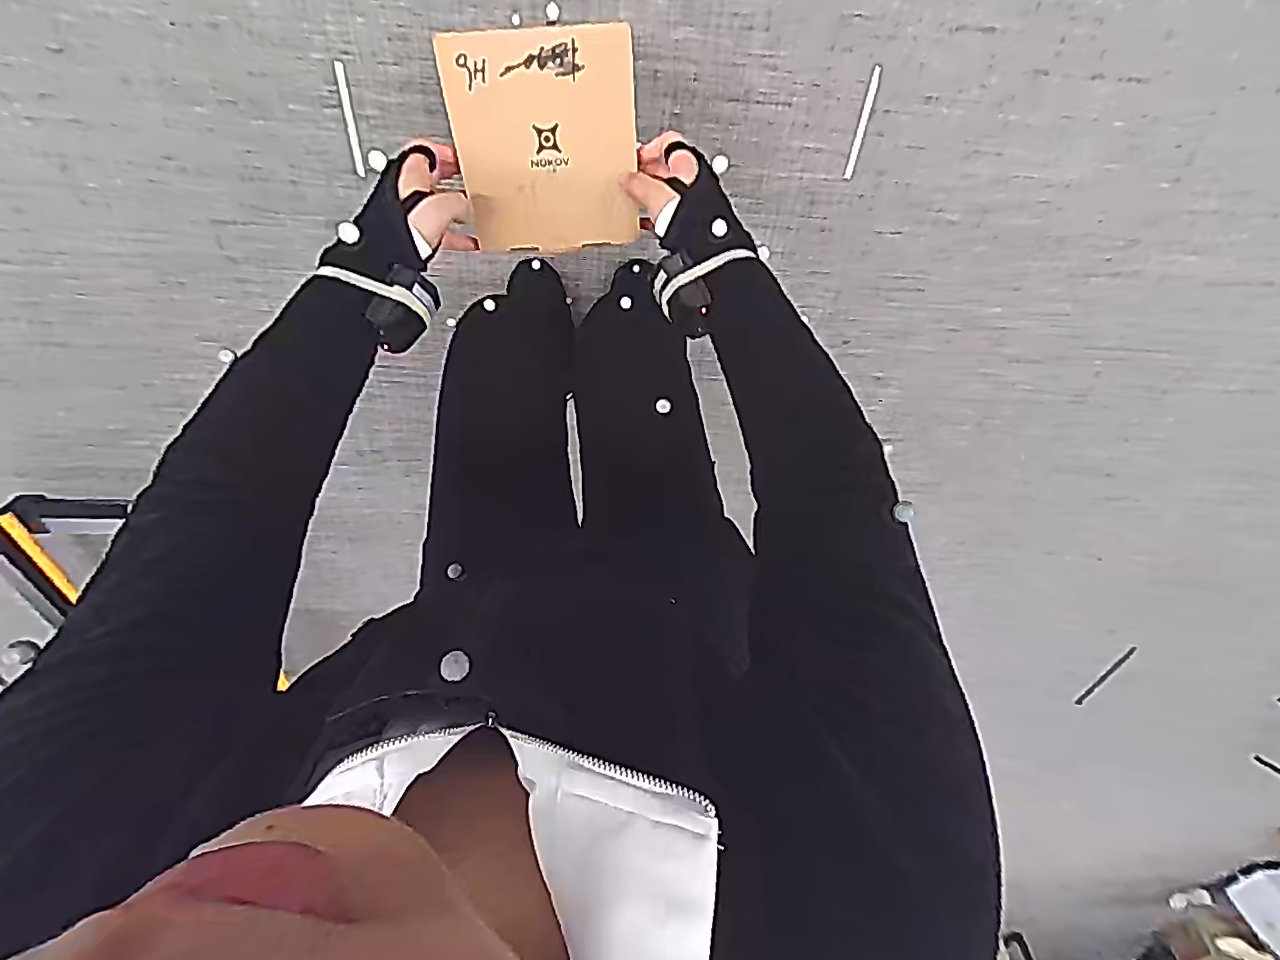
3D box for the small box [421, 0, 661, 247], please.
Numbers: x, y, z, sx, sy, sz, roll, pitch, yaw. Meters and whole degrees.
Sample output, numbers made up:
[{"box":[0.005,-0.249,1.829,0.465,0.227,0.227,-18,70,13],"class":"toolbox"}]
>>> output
[{"box":[-0.070,-0.328,0.478,0.168,0.176,0.179,-5,132,-2],"class":"small box"}]
